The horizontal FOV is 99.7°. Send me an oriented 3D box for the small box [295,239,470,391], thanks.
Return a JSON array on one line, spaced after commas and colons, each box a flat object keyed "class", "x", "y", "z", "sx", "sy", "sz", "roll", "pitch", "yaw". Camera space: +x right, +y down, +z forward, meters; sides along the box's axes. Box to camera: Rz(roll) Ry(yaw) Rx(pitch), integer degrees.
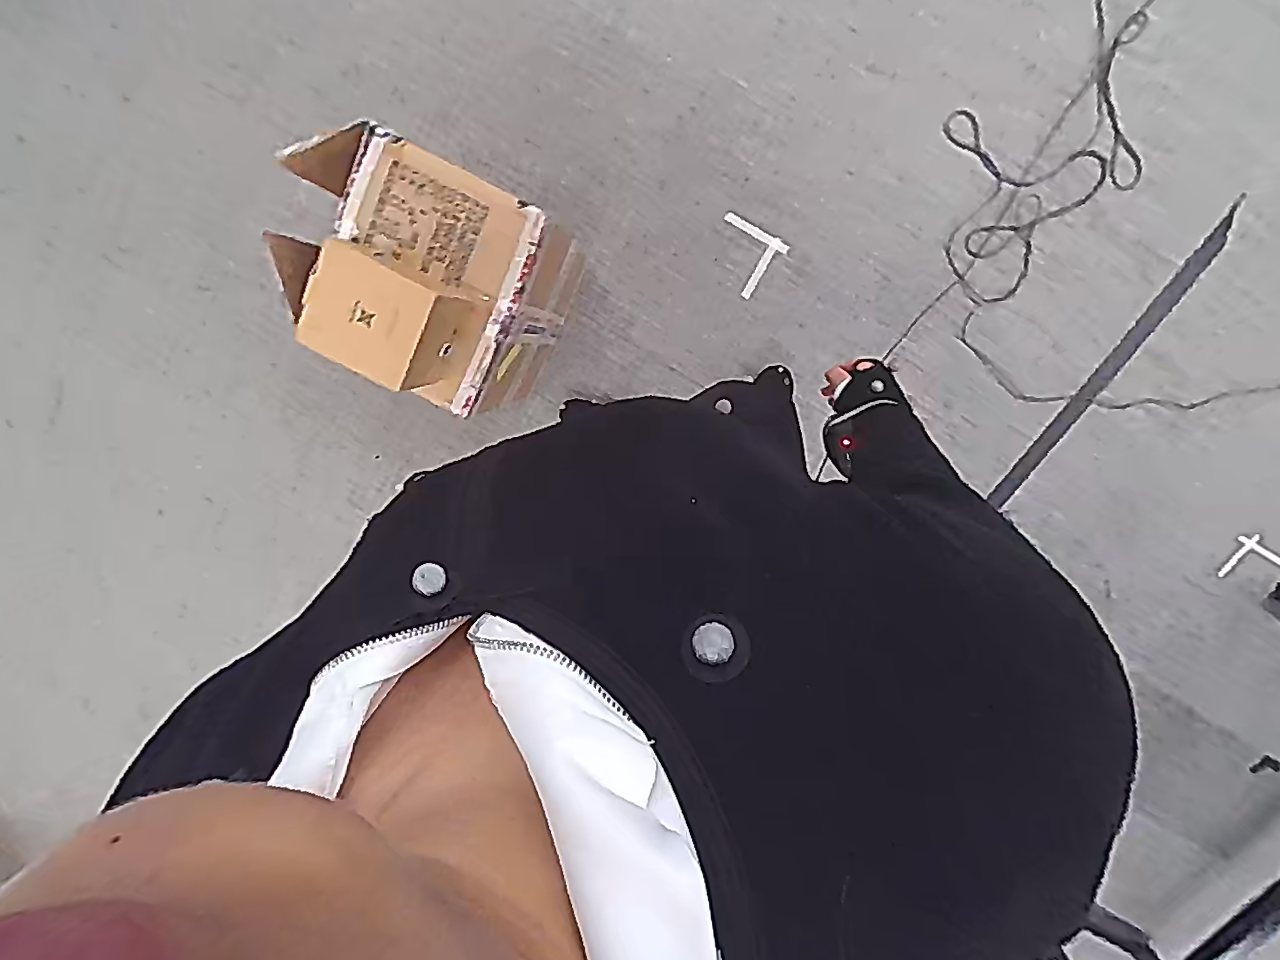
[{"class": "small box", "x": -0.407, "y": -0.262, "z": 0.883, "sx": 0.179, "sy": 0.176, "sz": 0.168, "roll": 26, "pitch": 104, "yaw": -6}]
